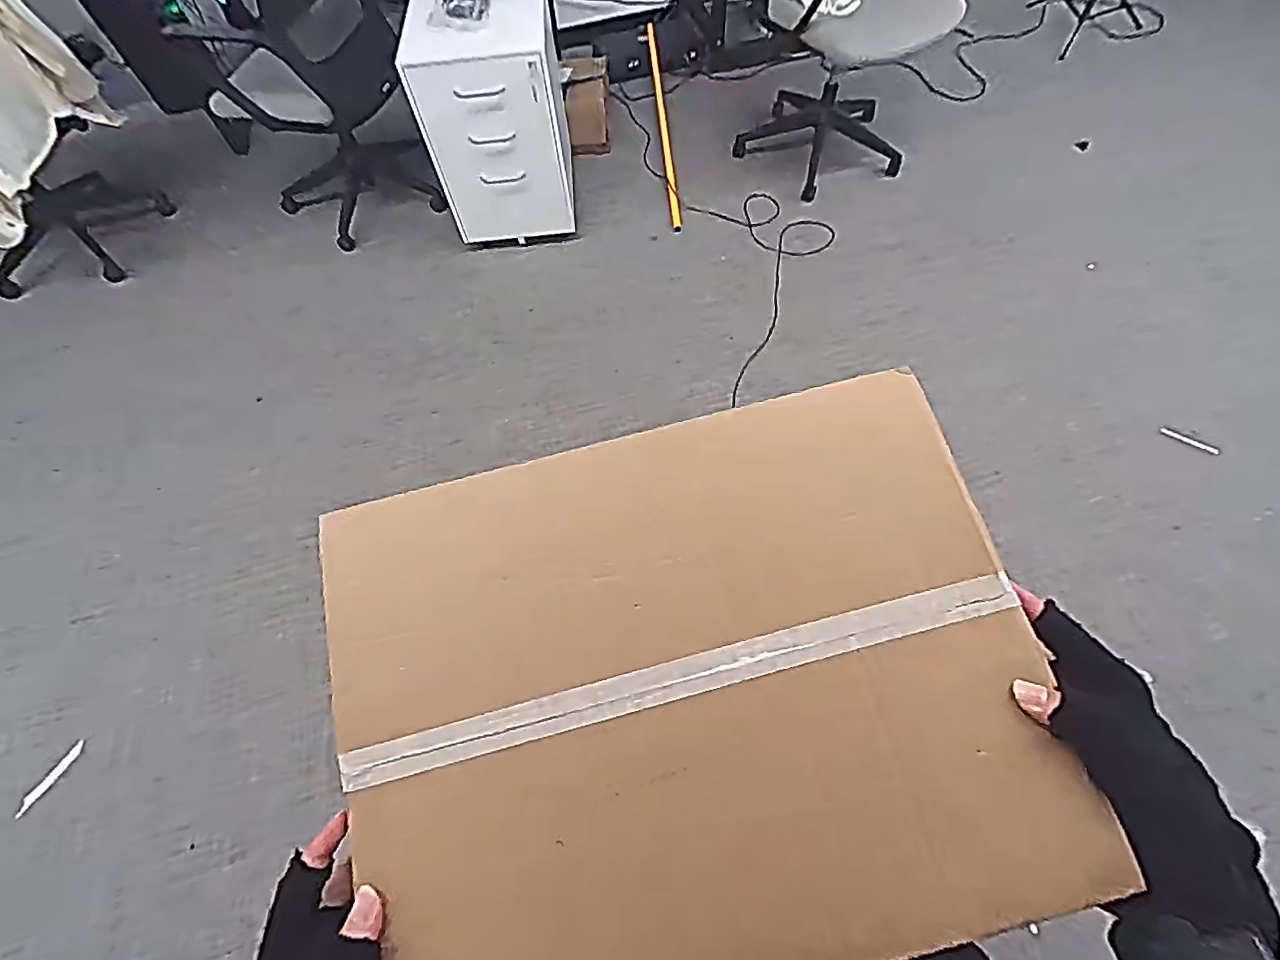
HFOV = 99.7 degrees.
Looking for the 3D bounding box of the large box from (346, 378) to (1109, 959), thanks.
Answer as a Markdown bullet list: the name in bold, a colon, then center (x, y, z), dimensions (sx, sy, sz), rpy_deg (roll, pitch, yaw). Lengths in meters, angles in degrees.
- **large box**: center (0.034, 0.163, 0.472), dimensions (0.408, 0.320, 0.320), rpy_deg (-15, 74, -1)
